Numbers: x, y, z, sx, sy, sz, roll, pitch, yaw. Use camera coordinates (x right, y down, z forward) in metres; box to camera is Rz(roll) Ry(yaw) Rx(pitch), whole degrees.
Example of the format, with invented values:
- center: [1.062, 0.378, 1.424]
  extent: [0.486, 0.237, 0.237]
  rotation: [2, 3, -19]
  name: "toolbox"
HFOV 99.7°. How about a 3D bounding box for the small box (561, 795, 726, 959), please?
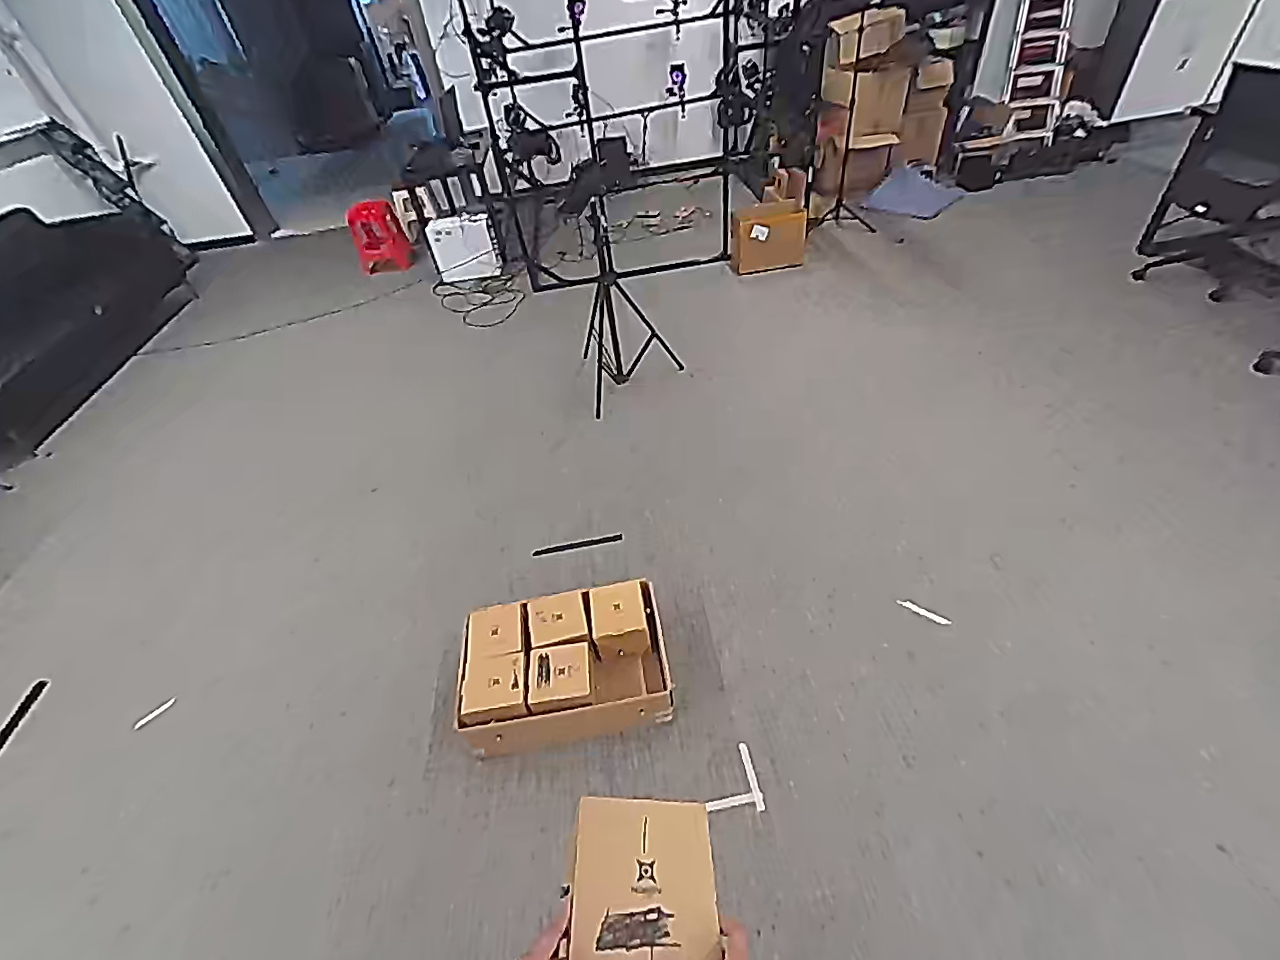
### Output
- center: [-0.003, 0.516, 0.655]
  extent: [0.168, 0.176, 0.179]
  rotation: [7, 33, -6]
  name: "small box"
